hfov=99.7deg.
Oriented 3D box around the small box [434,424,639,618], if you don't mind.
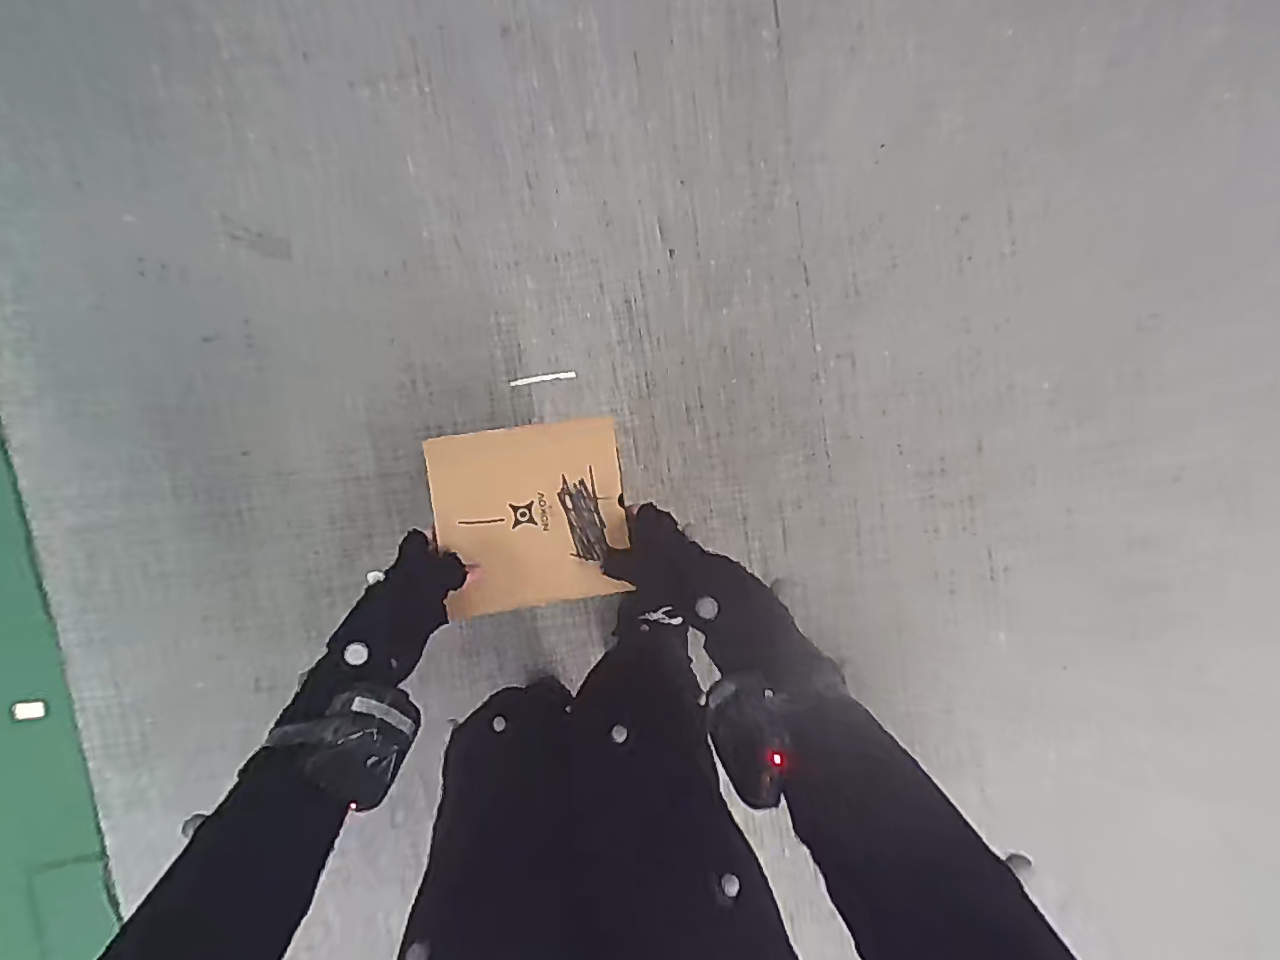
[{"bbox_3d":[-0.105,0.039,0.586,0.179,0.176,0.168,-8,88,-6],"label":"small box"}]
